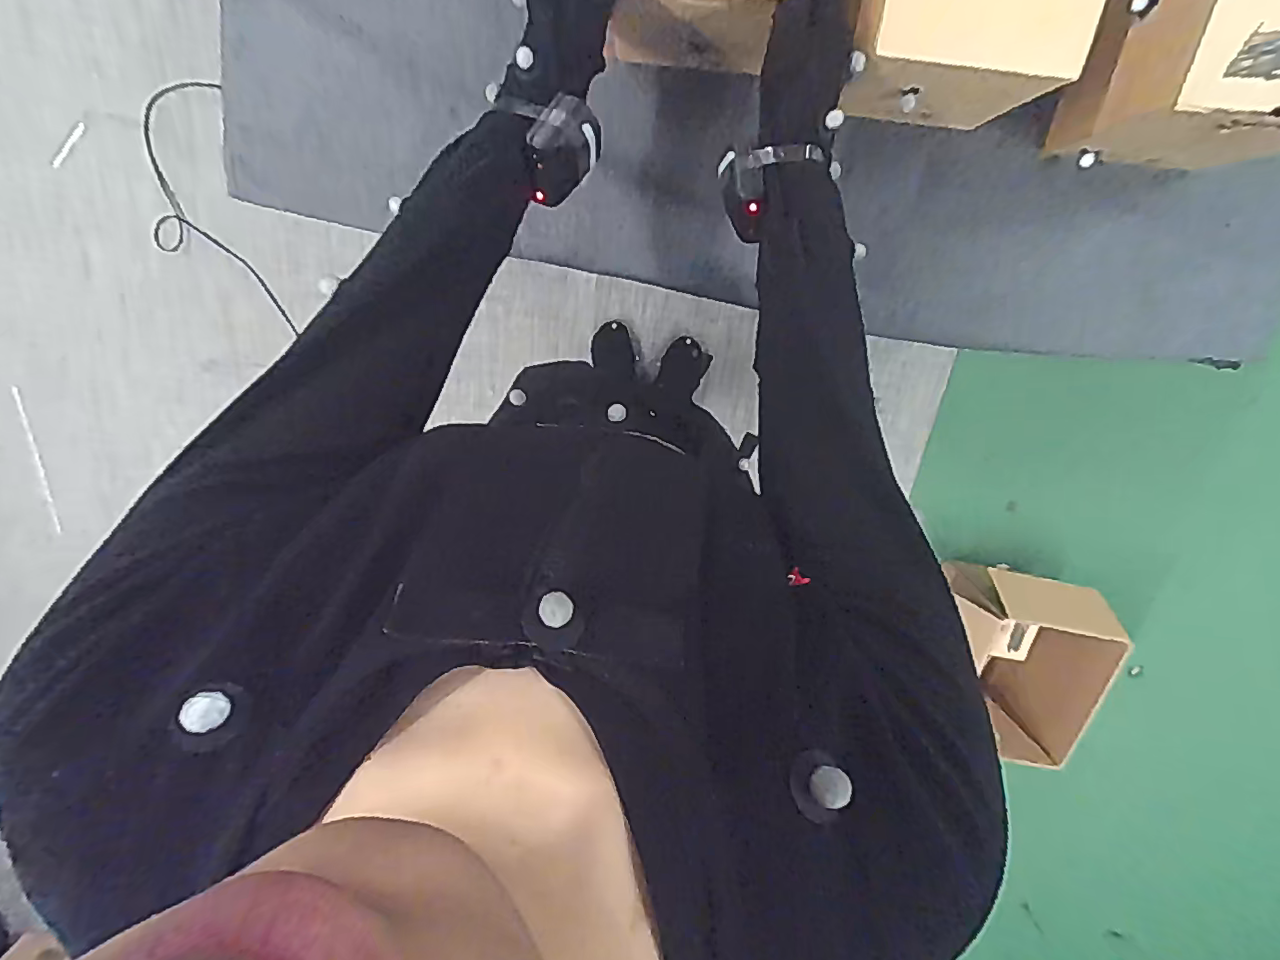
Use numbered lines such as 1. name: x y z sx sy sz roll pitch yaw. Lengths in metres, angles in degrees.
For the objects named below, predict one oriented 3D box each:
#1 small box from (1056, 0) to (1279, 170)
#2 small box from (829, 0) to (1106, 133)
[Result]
1. small box: 0.516 -0.388 0.472 0.168 0.176 0.179 7 109 1
2. small box: 0.279 -0.428 0.473 0.168 0.176 0.179 7 110 1
